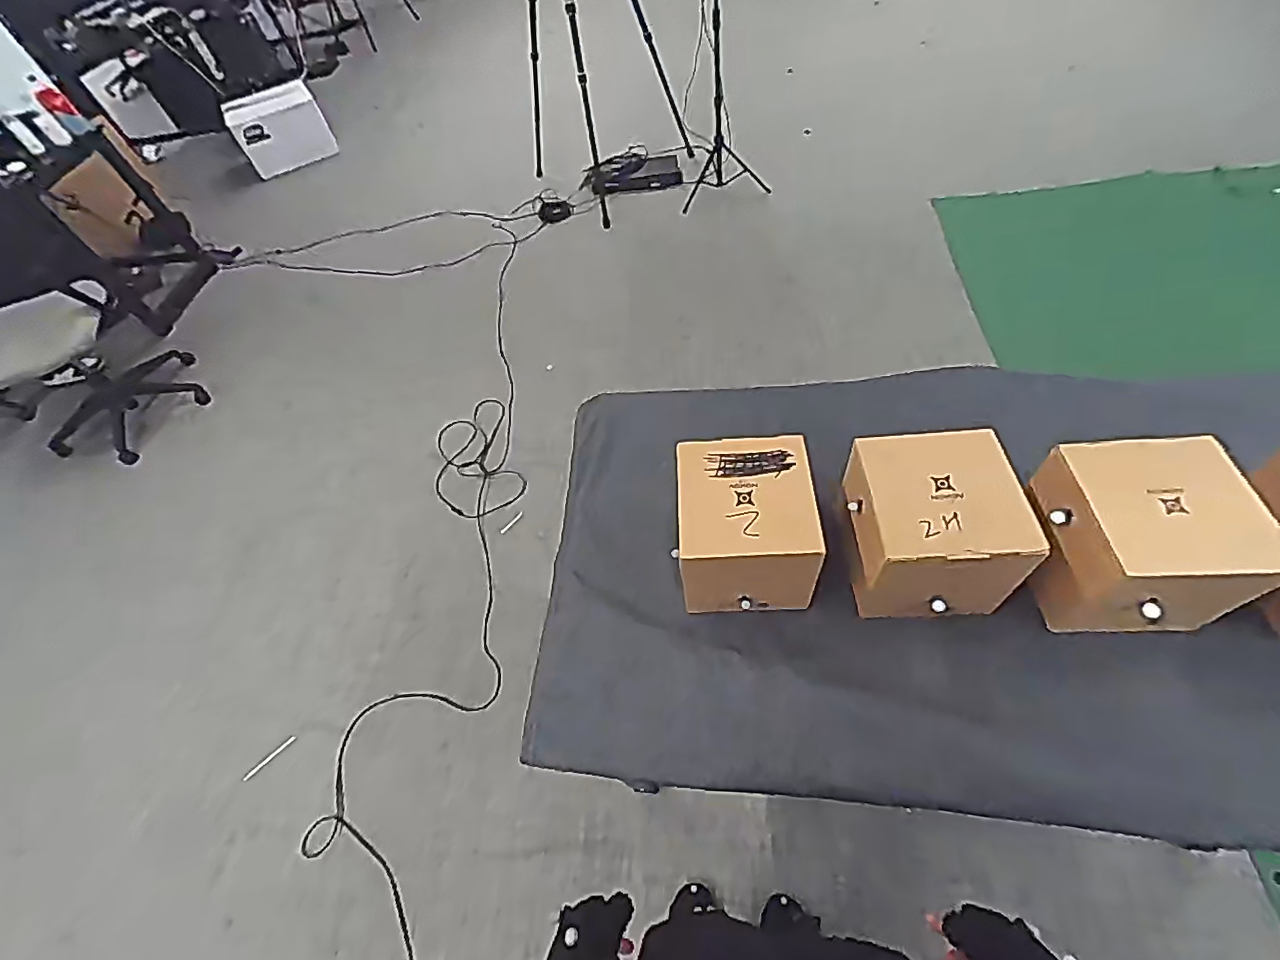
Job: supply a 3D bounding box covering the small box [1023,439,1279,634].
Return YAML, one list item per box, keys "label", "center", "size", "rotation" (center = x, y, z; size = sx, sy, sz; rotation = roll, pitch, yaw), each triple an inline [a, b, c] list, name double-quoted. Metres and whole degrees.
- label: "small box"
  center: [0.578, 0.075, 0.641]
  size: [0.168, 0.176, 0.179]
  rotation: [-3, 53, 8]

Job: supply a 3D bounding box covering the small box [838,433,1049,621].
- label: "small box"
  center: [0.359, 0.063, 0.685]
  size: [0.168, 0.176, 0.179]
  rotation: [-4, 54, 8]
